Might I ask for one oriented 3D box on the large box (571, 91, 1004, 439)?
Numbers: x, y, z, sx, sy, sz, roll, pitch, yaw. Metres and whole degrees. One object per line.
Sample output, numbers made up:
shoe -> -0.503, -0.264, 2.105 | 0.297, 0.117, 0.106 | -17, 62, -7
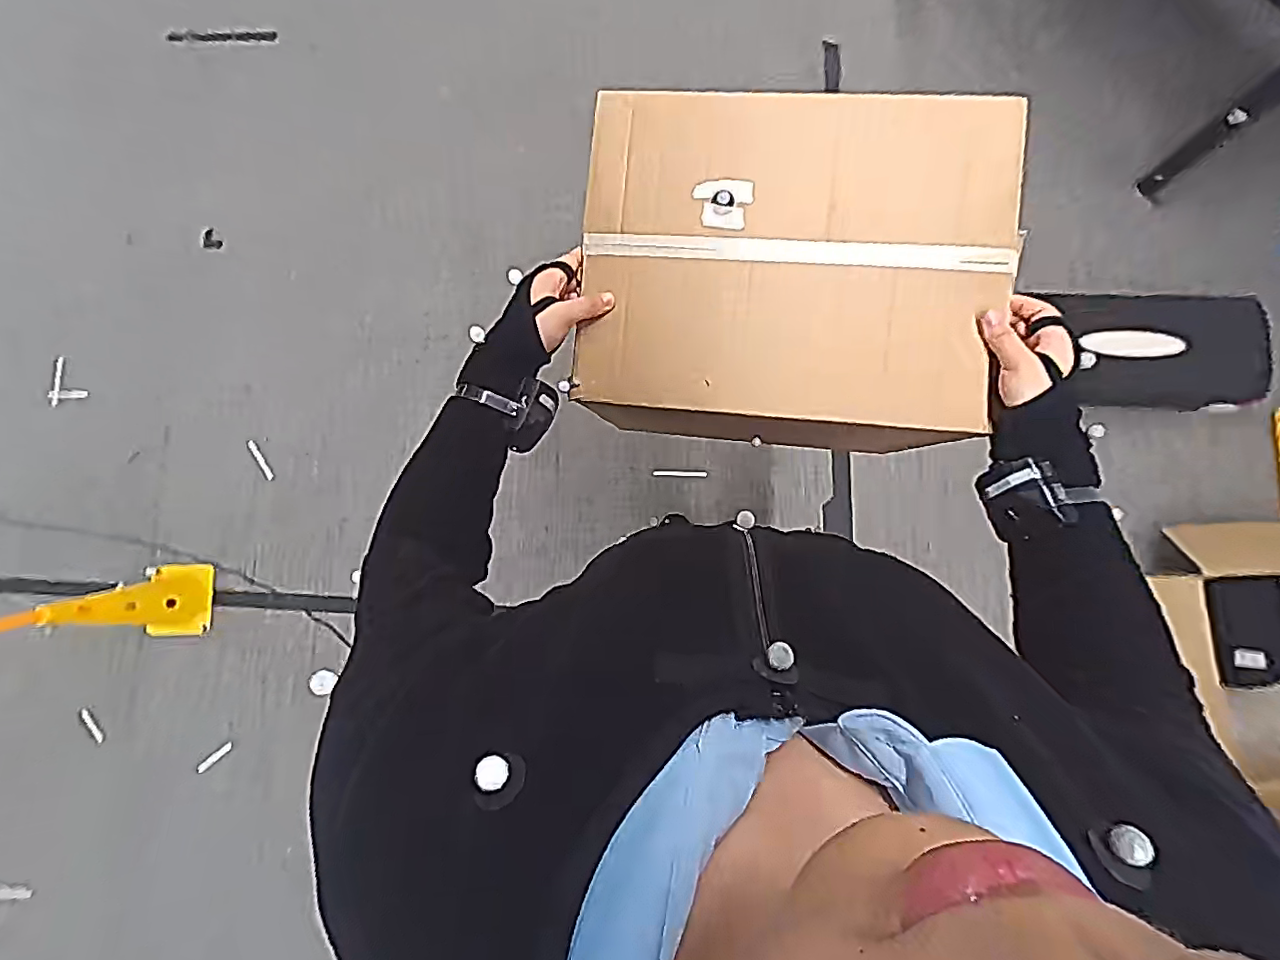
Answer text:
large box -> 0.156, -0.222, 0.677 | 0.408, 0.320, 0.320 | 5, 89, 8
